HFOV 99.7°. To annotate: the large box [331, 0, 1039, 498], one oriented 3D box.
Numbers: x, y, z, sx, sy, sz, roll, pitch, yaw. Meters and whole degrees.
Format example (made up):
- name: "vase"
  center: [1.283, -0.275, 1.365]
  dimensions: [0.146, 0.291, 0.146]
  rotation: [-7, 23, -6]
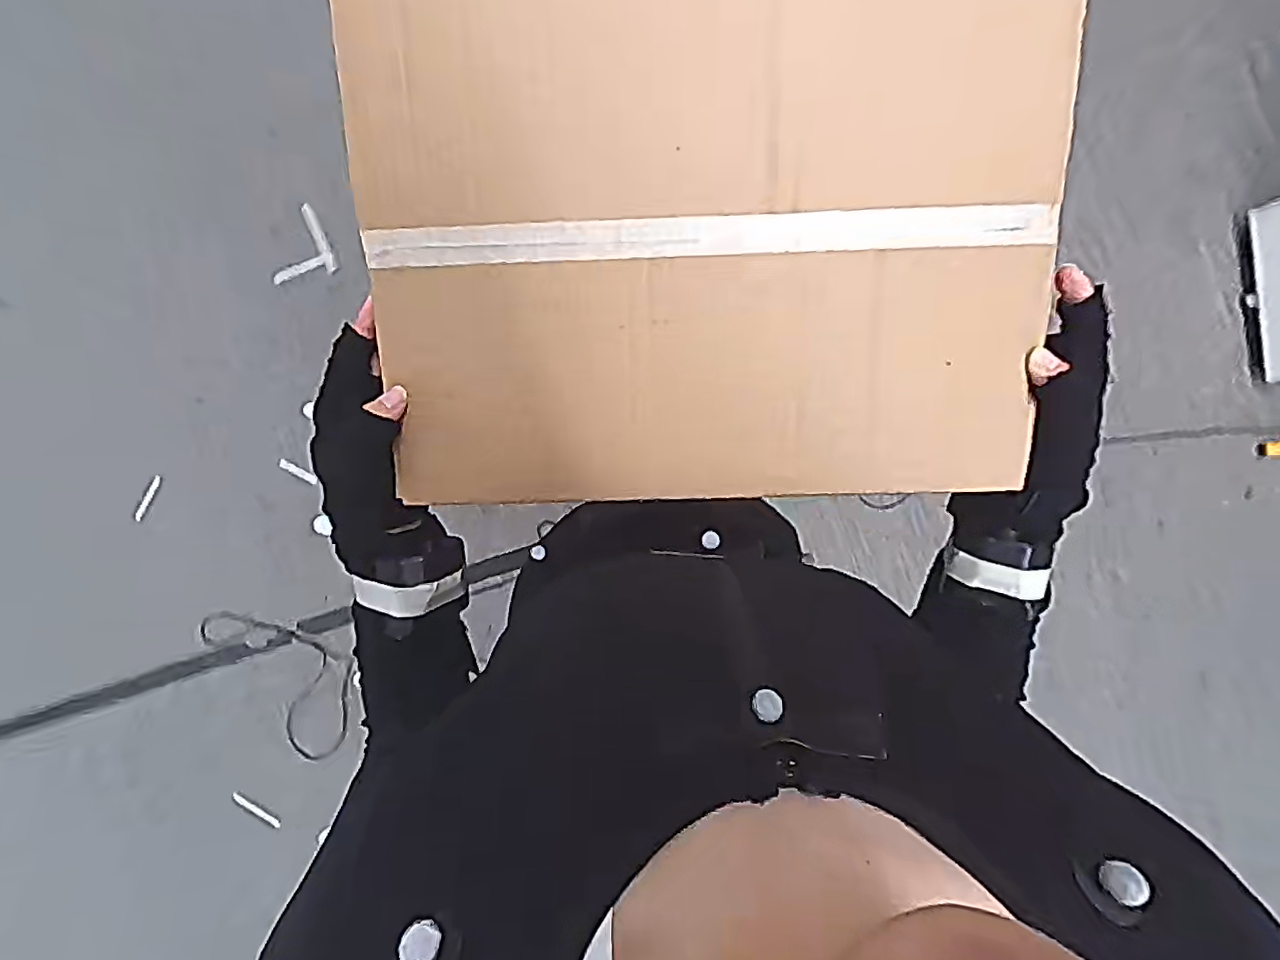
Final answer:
- name: "large box"
  center: [0.031, -0.180, 0.475]
  dimensions: [0.408, 0.320, 0.320]
  rotation: [-3, 103, 1]
